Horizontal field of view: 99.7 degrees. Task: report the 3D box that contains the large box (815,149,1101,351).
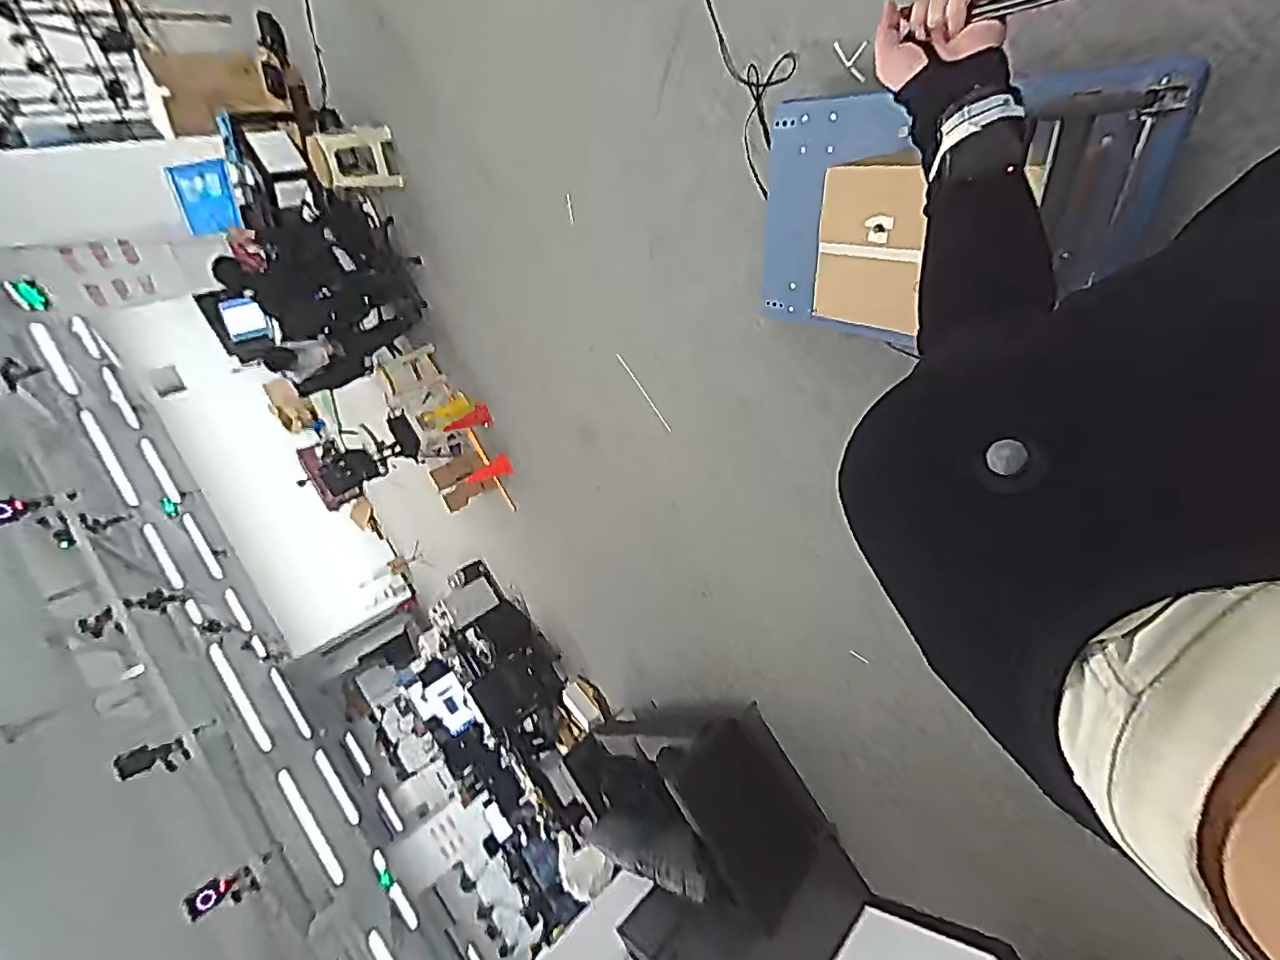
[{"bbox_3d":[0.643,-0.501,1.146,0.408,0.320,0.320,29,136,41],"label":"large box"}]
